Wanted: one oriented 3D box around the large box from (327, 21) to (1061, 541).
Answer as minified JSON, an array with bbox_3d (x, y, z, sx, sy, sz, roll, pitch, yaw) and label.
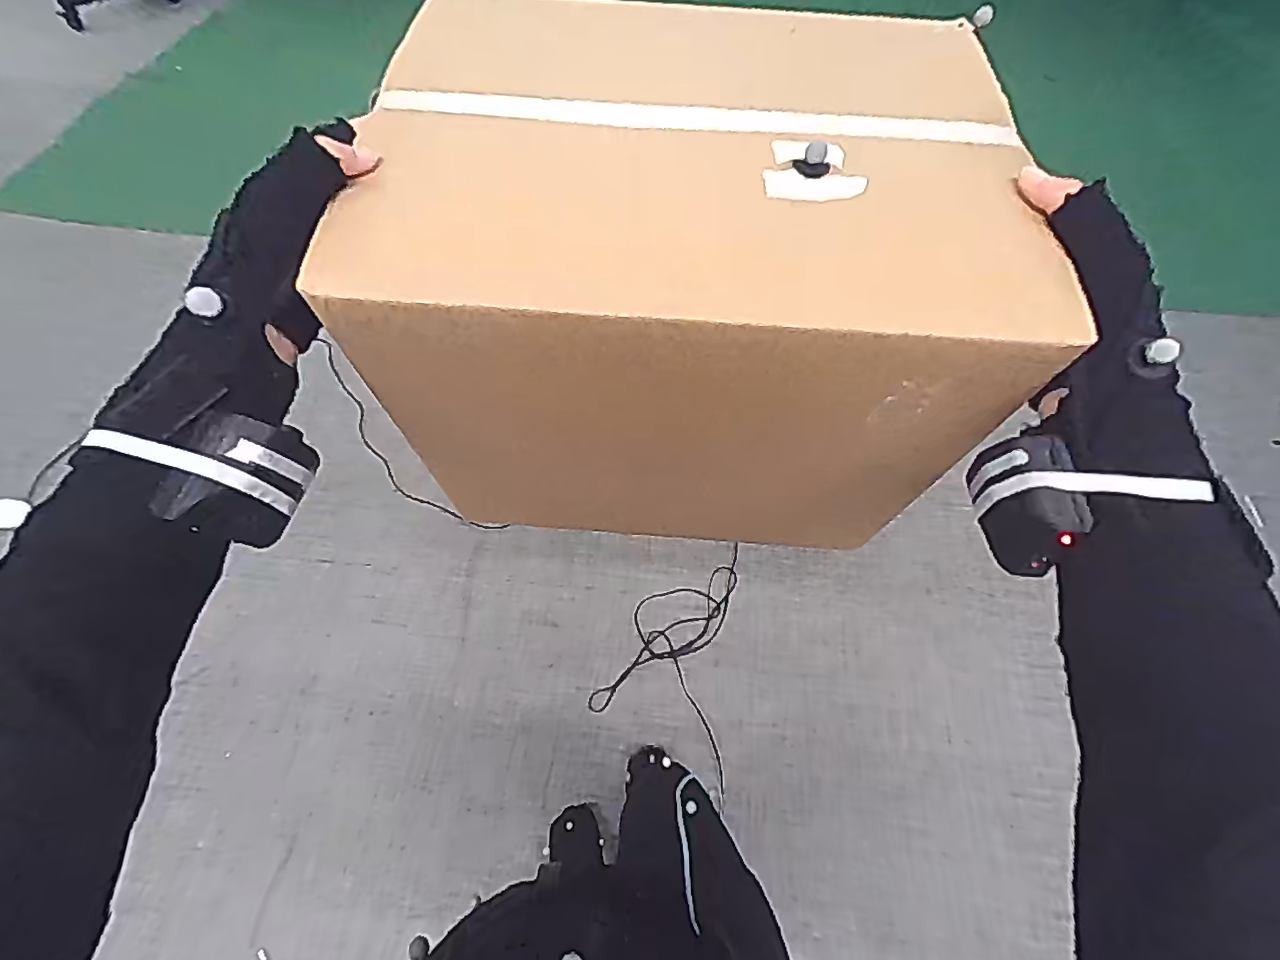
[{"bbox_3d":[0.031,-0.148,0.487,0.408,0.320,0.320,4,64,0],"label":"large box"}]
